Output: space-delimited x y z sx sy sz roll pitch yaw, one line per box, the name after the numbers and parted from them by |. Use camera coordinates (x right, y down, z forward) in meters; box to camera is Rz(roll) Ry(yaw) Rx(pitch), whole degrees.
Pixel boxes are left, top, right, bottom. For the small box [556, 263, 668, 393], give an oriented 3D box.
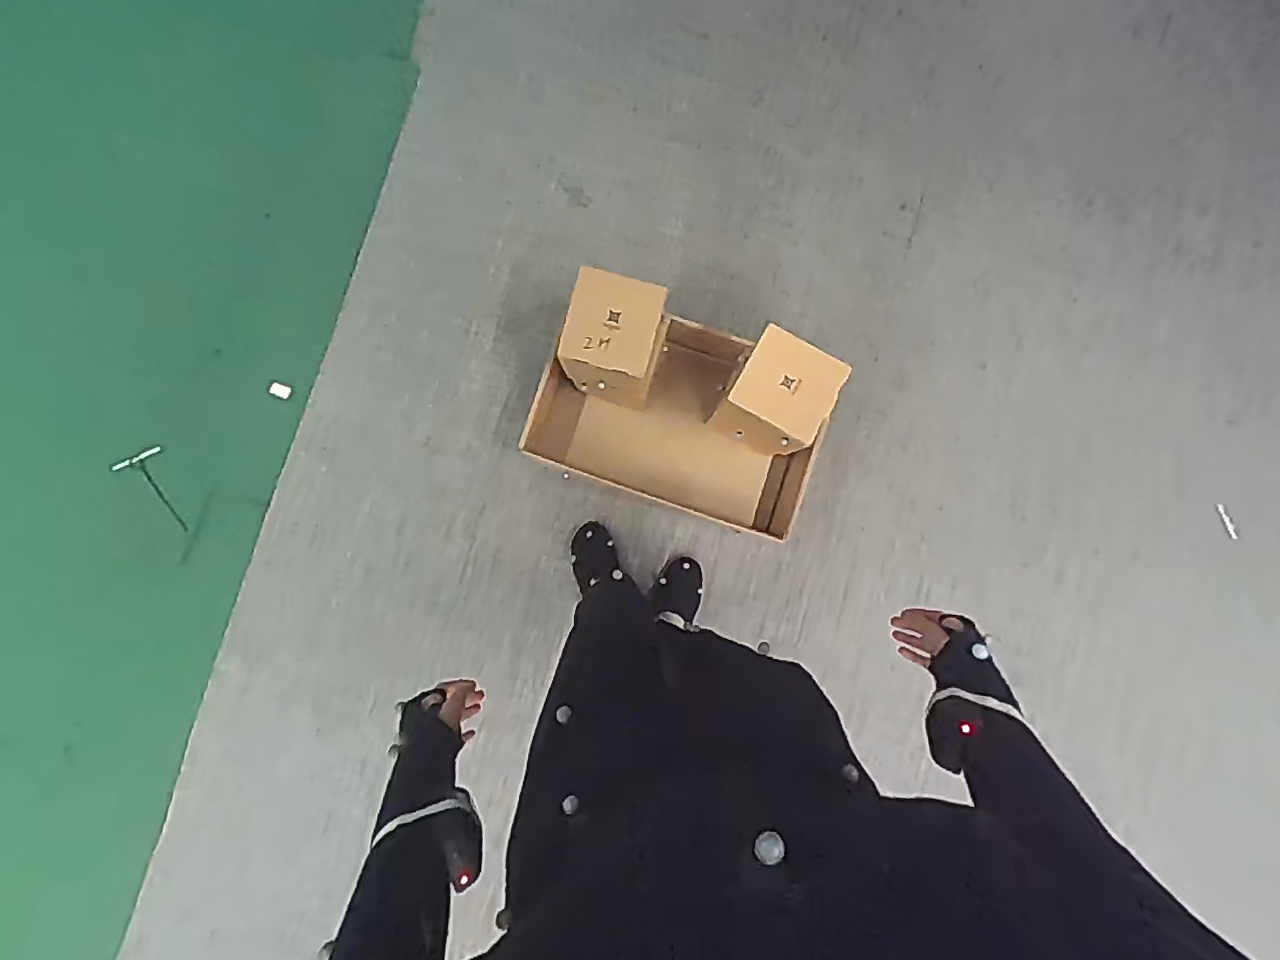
-0.052 -0.287 1.055 0.168 0.176 0.179 16 88 1 | small box

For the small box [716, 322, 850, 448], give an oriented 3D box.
0.266 -0.173 1.057 0.179 0.176 0.168 30 88 1 | small box
